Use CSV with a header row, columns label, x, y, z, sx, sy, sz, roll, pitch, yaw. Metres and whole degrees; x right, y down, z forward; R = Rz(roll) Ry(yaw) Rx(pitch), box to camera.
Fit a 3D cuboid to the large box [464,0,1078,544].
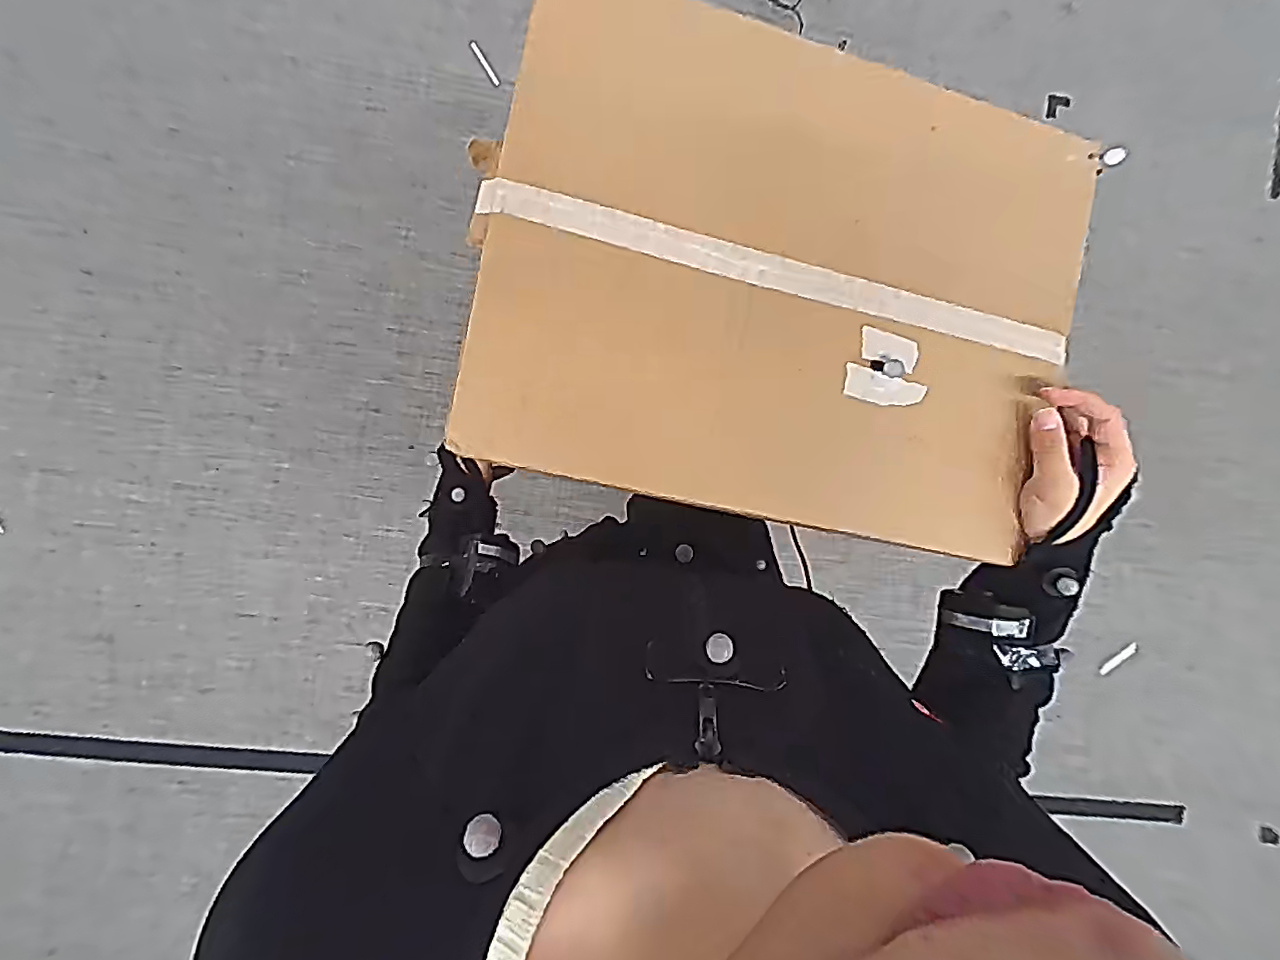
label,x,y,z,sx,sy,sz,roll,pitch,yaw
large box,0.081,-0.139,0.510,0.408,0.320,0.320,12,90,-11
